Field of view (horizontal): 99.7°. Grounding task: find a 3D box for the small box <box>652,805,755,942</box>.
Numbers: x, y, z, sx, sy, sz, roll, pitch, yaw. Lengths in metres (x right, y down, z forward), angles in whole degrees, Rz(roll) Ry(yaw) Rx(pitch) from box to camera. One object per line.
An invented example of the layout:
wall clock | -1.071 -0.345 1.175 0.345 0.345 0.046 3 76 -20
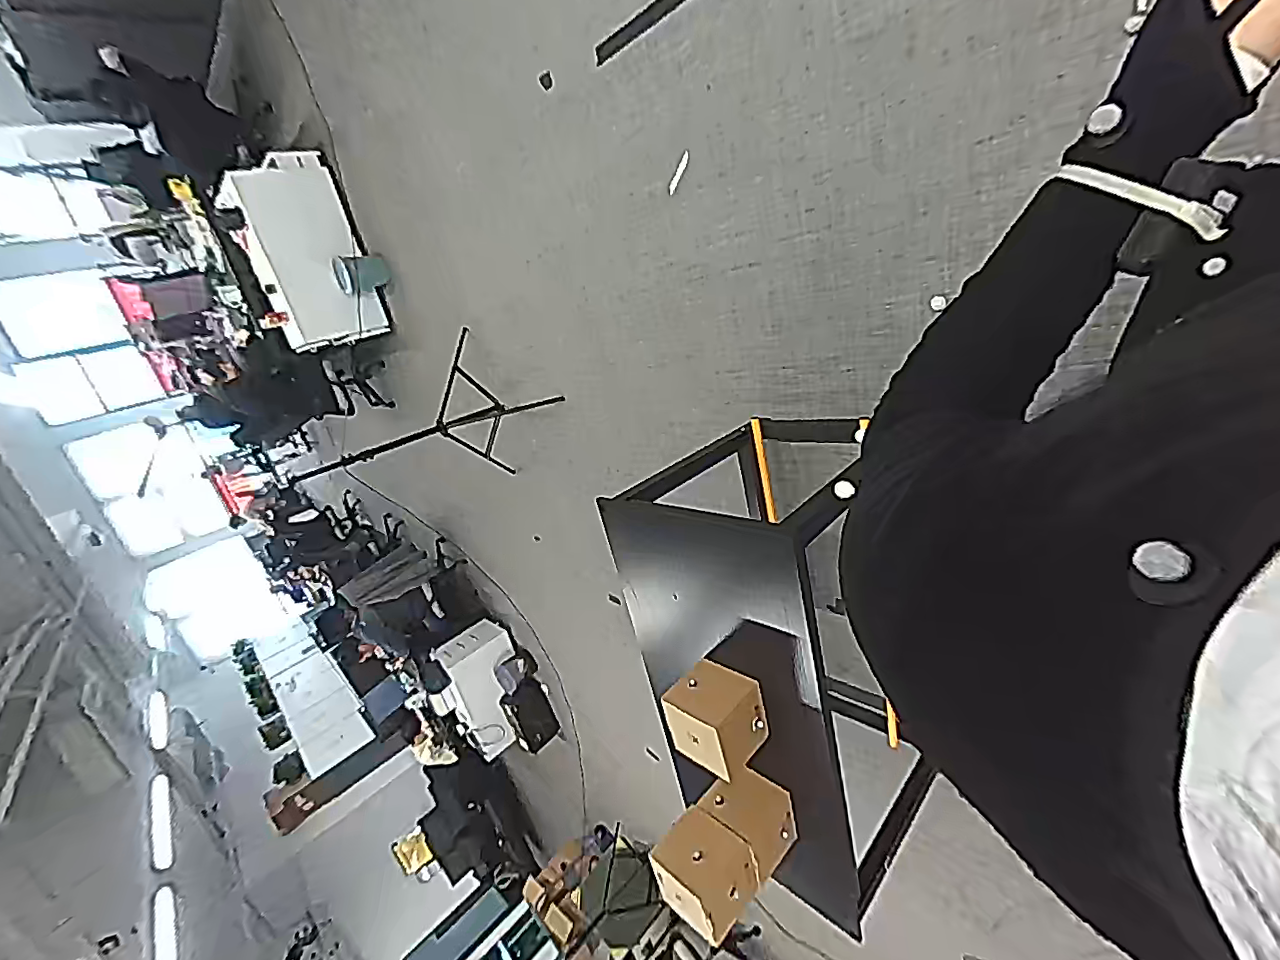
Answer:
small box | 0.161 0.938 1.311 0.179 0.176 0.168 6 118 48

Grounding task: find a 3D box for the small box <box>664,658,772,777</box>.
small box | 0.189 0.561 1.306 0.179 0.176 0.168 6 119 48

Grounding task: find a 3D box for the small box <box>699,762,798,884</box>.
small box | 0.283 0.872 1.399 0.179 0.176 0.168 10 121 47
